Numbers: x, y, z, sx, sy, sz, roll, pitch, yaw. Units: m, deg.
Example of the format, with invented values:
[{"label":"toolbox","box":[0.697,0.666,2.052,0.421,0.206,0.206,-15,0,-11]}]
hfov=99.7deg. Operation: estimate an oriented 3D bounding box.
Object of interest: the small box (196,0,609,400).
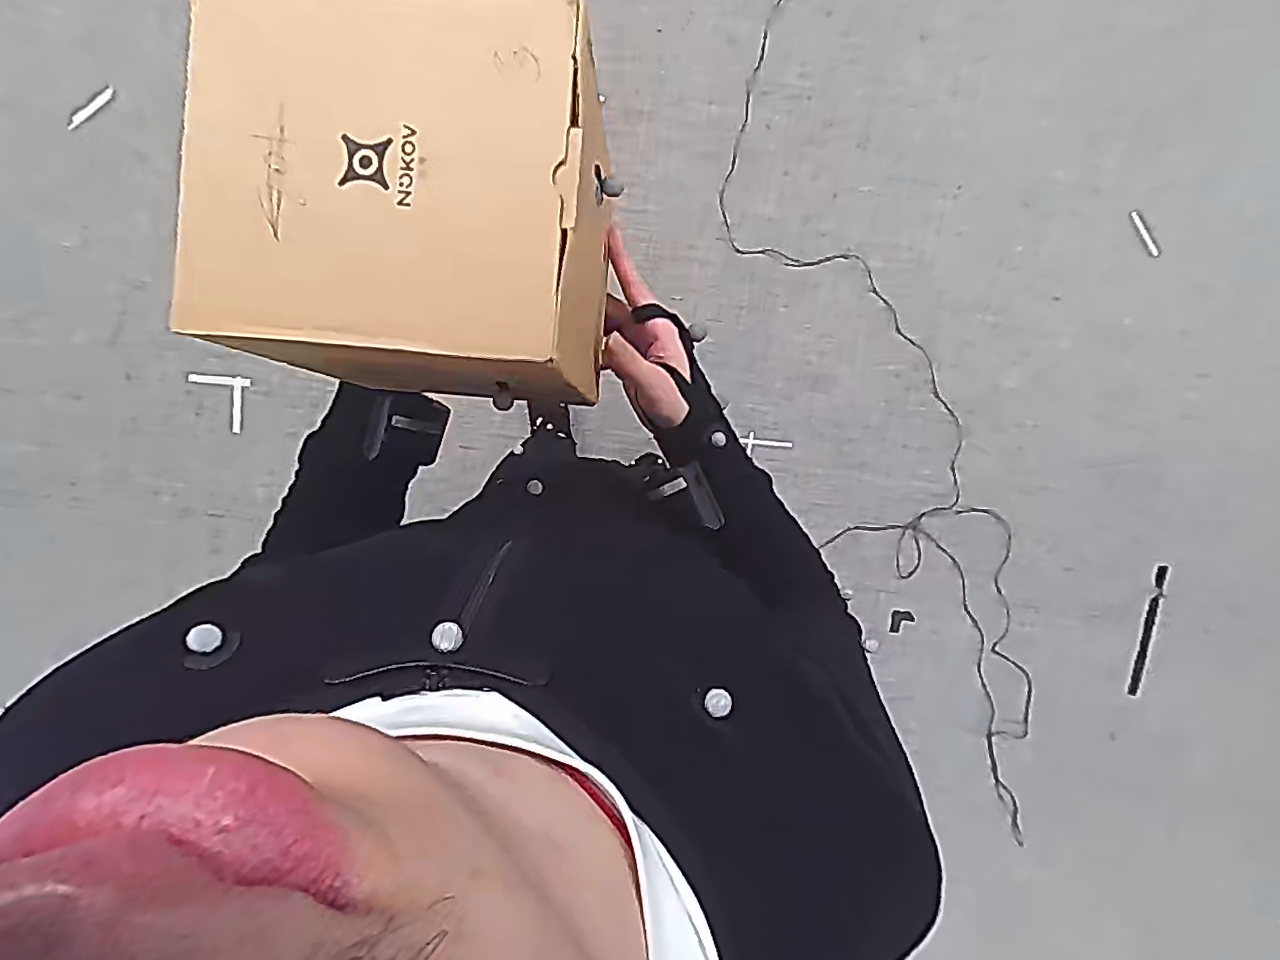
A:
[{"label":"small box","box":[-0.115,-0.145,0.331,0.179,0.176,0.168,4,90,2]}]
